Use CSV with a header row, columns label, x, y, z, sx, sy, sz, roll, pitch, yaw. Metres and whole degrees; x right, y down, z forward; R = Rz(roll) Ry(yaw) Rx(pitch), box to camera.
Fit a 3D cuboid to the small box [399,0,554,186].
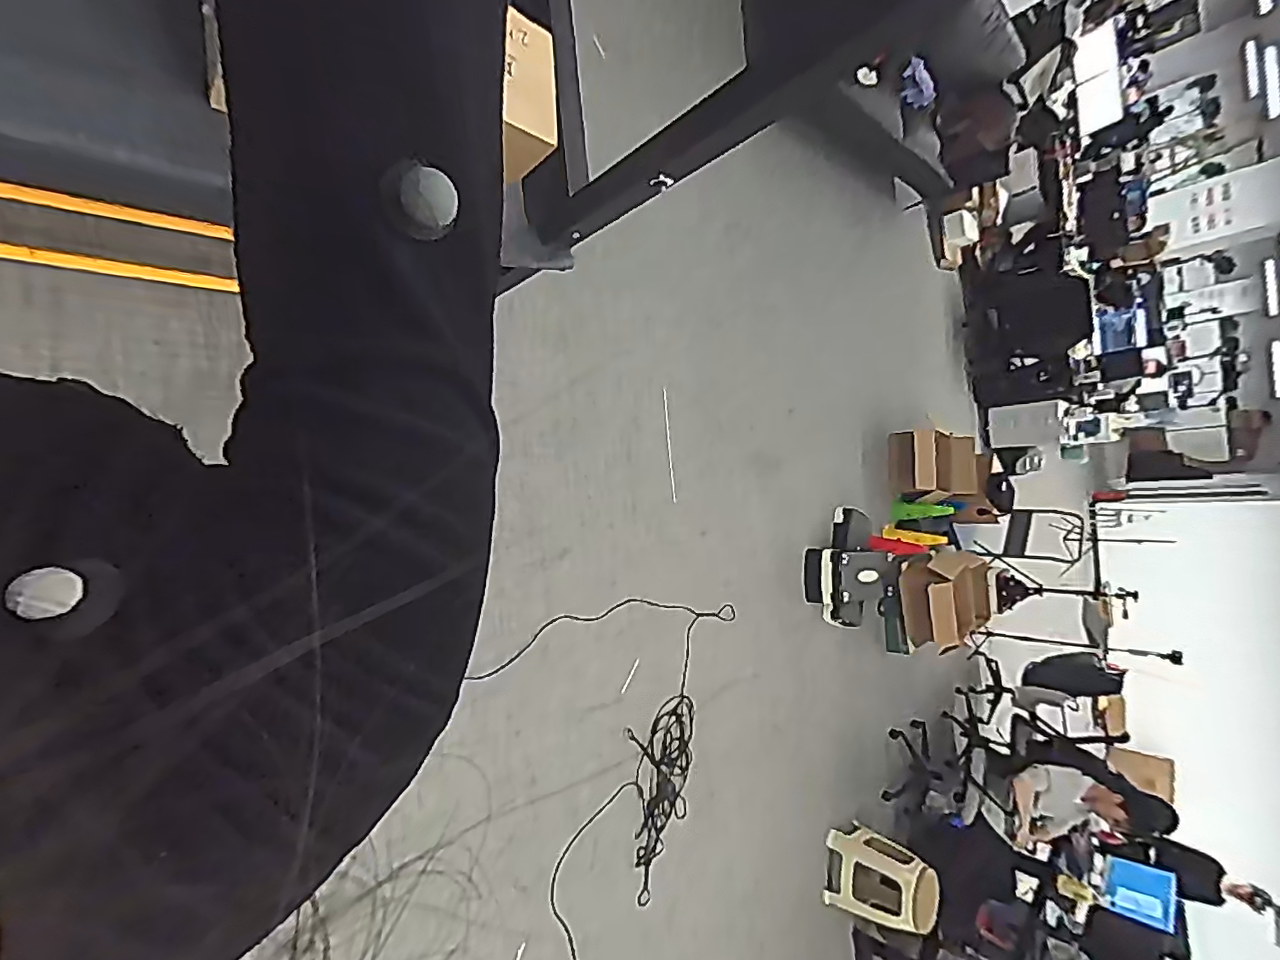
label,x,y,z,sx,sy,sz,roll,pitch,yaw
small box,-0.245,-0.576,0.802,0.168,0.176,0.179,-1,87,-44
